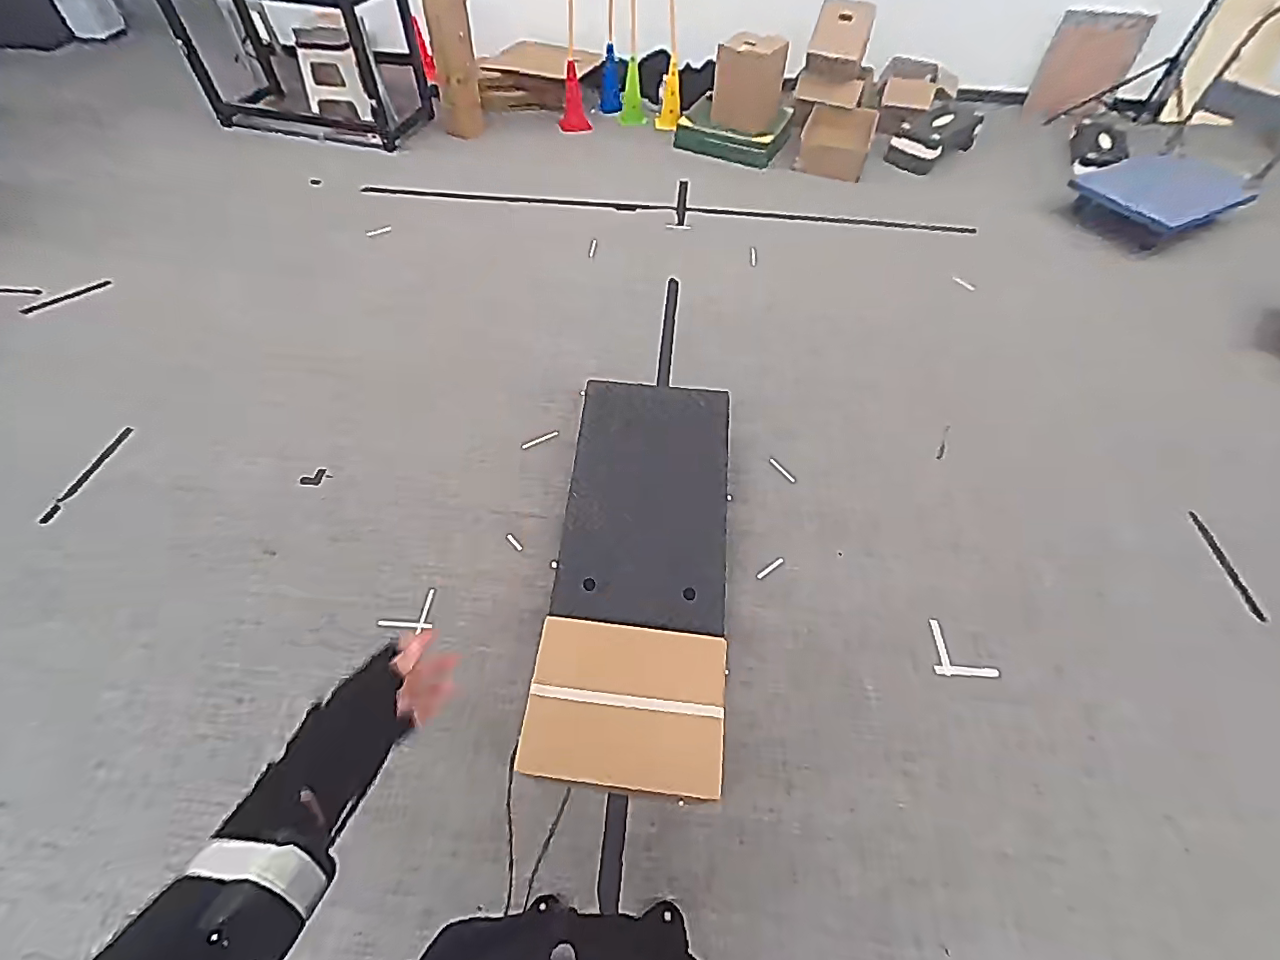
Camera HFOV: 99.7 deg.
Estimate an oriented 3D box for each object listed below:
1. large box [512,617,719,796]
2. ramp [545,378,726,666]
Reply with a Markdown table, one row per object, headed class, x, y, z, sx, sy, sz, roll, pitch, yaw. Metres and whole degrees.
| class | x | y | z | sx | sy | sz | roll | pitch | yaw |
| --- | --- | --- | --- | --- | --- | --- | --- | --- | --- |
| large box | -0.040 | 0.533 | 1.249 | 0.408 | 0.320 | 0.320 | 7 | 57 | 2 |
| ramp | 0.010 | 0.118 | 1.643 | 0.509 | 0.206 | 0.991 | 5 | 54 | -1 |
